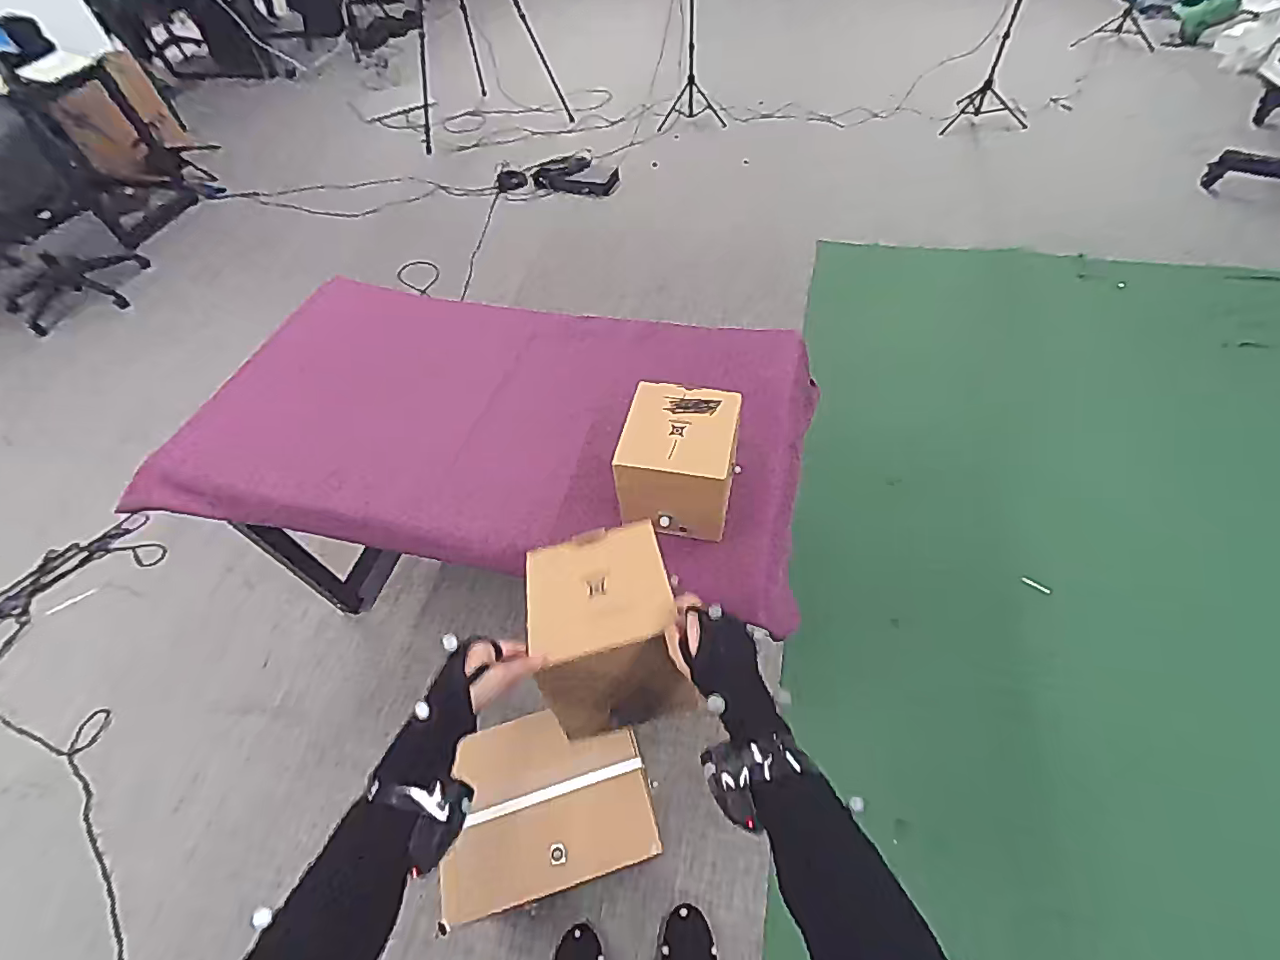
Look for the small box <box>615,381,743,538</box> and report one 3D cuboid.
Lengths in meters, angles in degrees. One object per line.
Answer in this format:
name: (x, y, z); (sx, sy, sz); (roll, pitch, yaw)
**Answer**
small box: (0.067, -0.032, 0.871); (0.168, 0.176, 0.179); (9, 54, 12)
